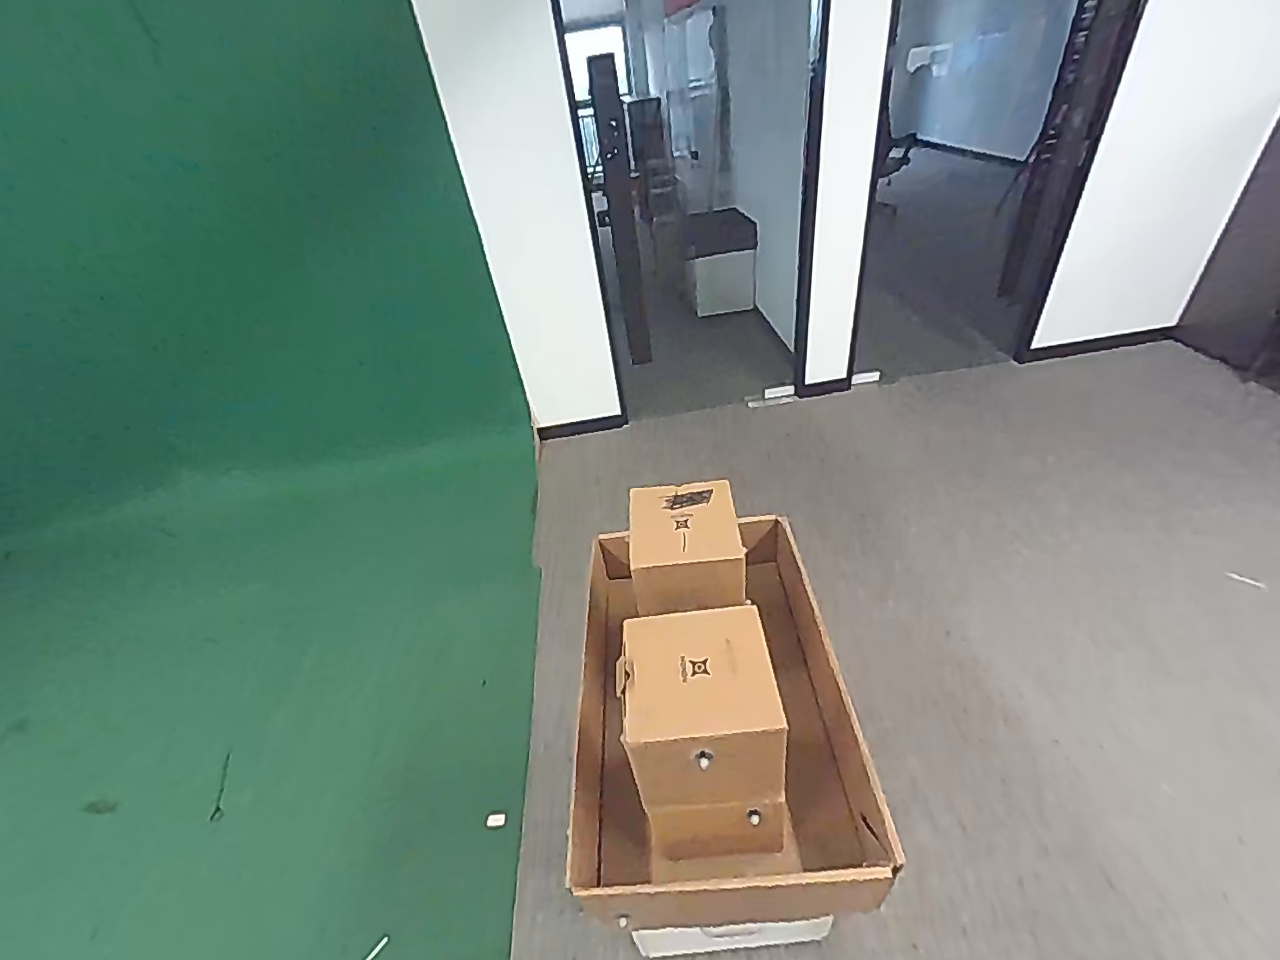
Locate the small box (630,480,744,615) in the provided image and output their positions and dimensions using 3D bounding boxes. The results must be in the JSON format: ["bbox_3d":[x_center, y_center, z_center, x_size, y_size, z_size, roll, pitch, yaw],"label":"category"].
[{"bbox_3d":[0.076,0.122,0.887,0.168,0.176,0.179,-5,41,4],"label":"small box"}]

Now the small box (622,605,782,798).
[{"bbox_3d":[0.076,0.284,0.690,0.179,0.176,0.168,-6,38,3],"label":"small box"}]
